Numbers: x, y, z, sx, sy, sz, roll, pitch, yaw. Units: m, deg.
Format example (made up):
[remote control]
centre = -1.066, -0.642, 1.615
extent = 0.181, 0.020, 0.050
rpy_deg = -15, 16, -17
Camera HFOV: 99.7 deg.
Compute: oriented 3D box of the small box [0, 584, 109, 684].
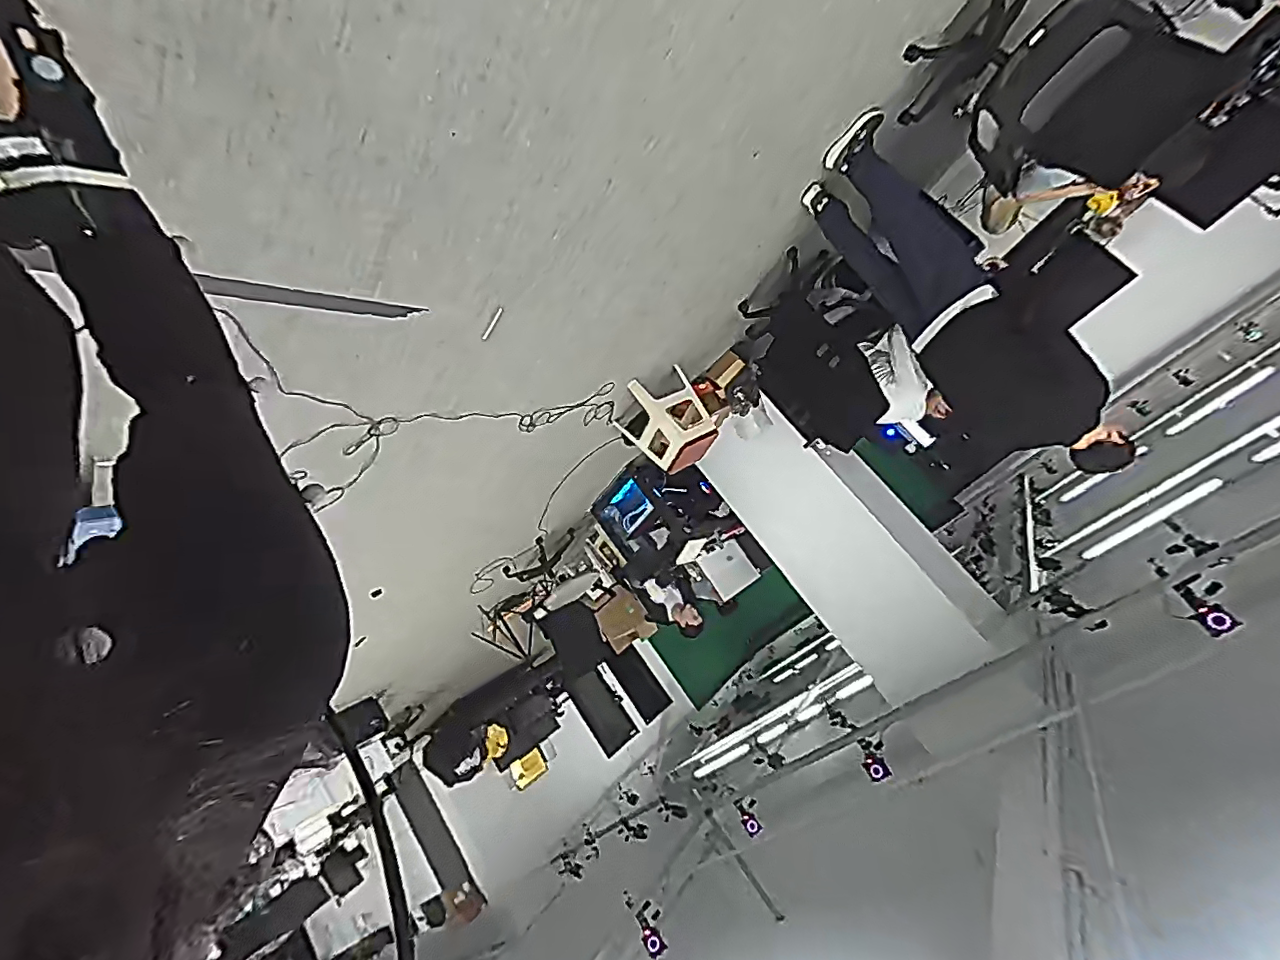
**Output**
[small box]
centre = -1.541, 0.389, 1.399
extent = 0.168, 0.176, 0.179
rpy_deg = -44, 162, 20
